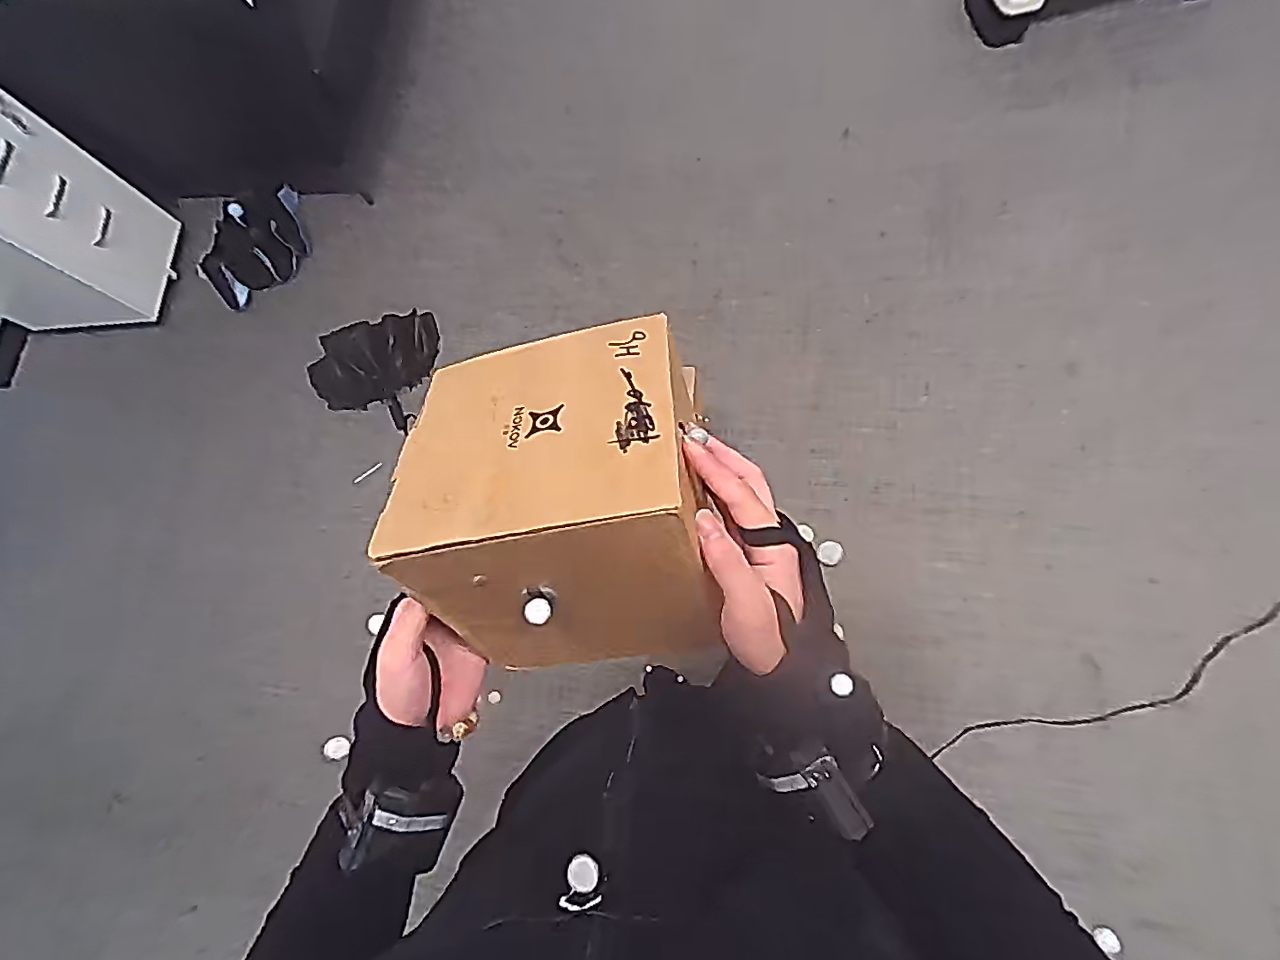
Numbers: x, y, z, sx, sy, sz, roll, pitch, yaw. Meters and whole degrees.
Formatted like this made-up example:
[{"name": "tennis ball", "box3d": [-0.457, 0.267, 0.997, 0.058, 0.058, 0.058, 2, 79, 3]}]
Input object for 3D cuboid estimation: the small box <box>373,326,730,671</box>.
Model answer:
[{"name": "small box", "box3d": [-0.041, 0.022, 0.385, 0.179, 0.176, 0.168, -10, 47, 11]}]
